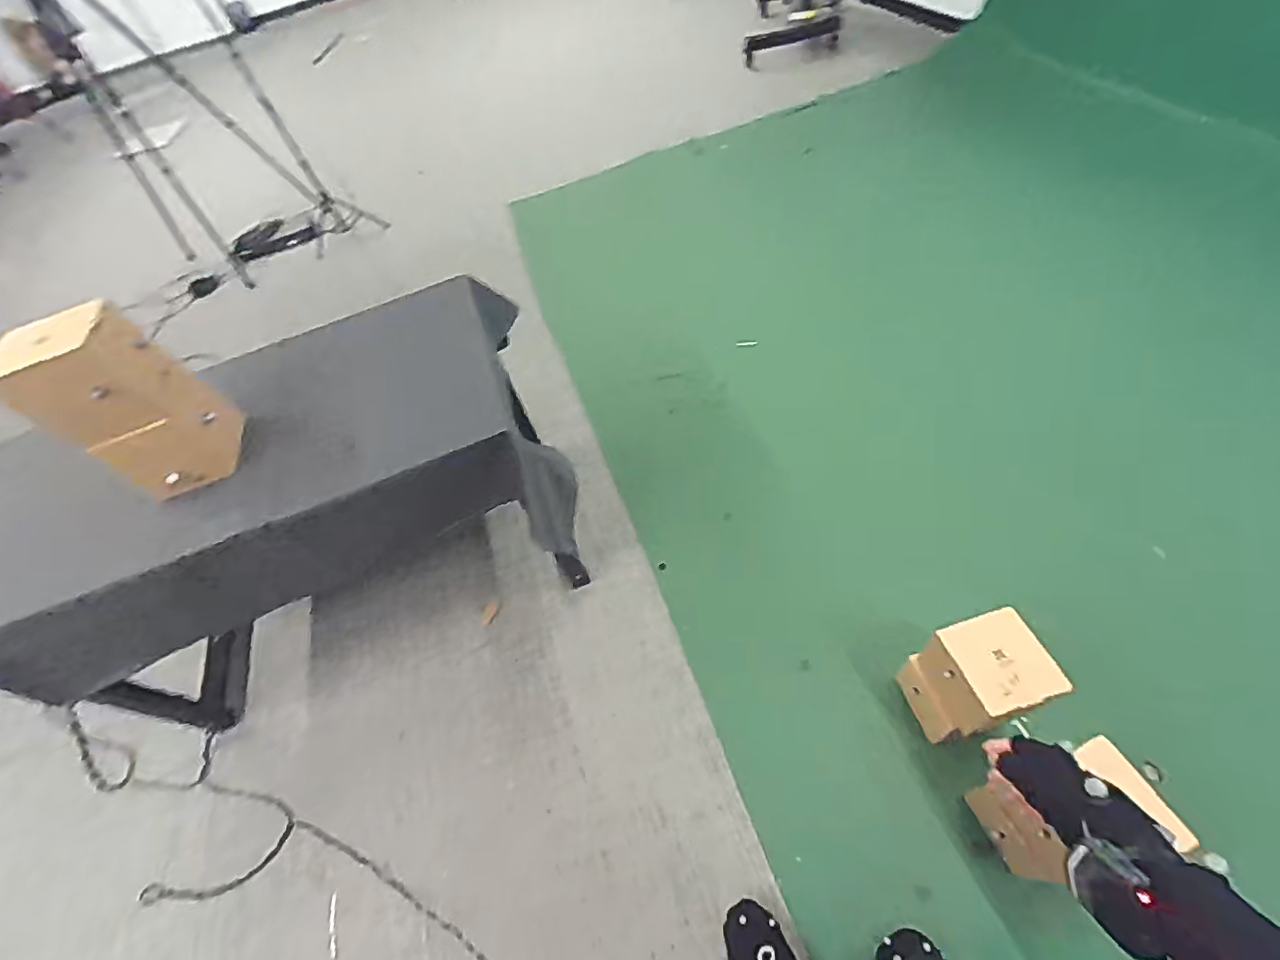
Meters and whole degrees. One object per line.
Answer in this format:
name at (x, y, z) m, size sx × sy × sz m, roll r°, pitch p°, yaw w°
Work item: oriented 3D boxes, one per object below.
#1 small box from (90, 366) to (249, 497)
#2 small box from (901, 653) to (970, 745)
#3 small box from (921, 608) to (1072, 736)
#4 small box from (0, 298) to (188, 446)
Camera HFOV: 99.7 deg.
small box at (-0.948, -0.097, 1.112) m, size 0.168 × 0.176 × 0.179 m, roll -21°, pitch 53°, yaw -3°
small box at (0.724, 0.487, 1.238) m, size 0.179 × 0.176 × 0.168 m, roll -17°, pitch 52°, yaw -1°
small box at (0.707, 0.394, 1.102) m, size 0.168 × 0.176 × 0.179 m, roll -17°, pitch 52°, yaw -1°
small box at (-0.981, -0.193, 0.984) m, size 0.179 × 0.176 × 0.168 m, roll -23°, pitch 52°, yaw -4°
